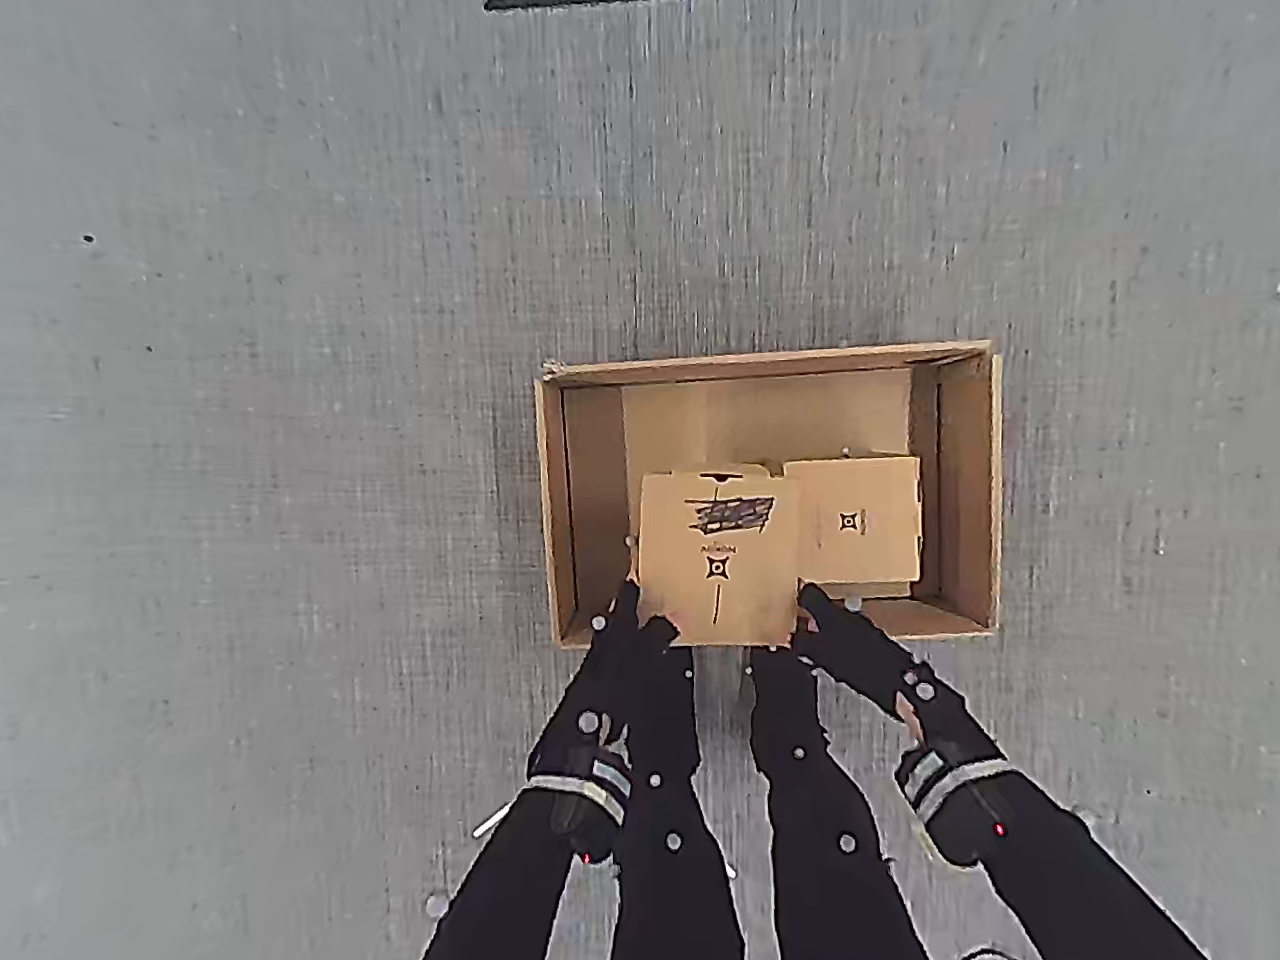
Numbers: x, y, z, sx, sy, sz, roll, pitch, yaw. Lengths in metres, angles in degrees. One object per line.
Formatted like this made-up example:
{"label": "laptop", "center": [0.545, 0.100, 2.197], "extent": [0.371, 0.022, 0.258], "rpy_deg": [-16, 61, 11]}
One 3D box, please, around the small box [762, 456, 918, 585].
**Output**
{"label": "small box", "center": [0.282, 0.051, 0.791], "extent": [0.179, 0.176, 0.168], "rpy_deg": [-3, 93, 5]}

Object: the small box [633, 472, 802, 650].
{"label": "small box", "center": [0.078, 0.085, 0.624], "extent": [0.168, 0.176, 0.179], "rpy_deg": [2, 88, -1]}
